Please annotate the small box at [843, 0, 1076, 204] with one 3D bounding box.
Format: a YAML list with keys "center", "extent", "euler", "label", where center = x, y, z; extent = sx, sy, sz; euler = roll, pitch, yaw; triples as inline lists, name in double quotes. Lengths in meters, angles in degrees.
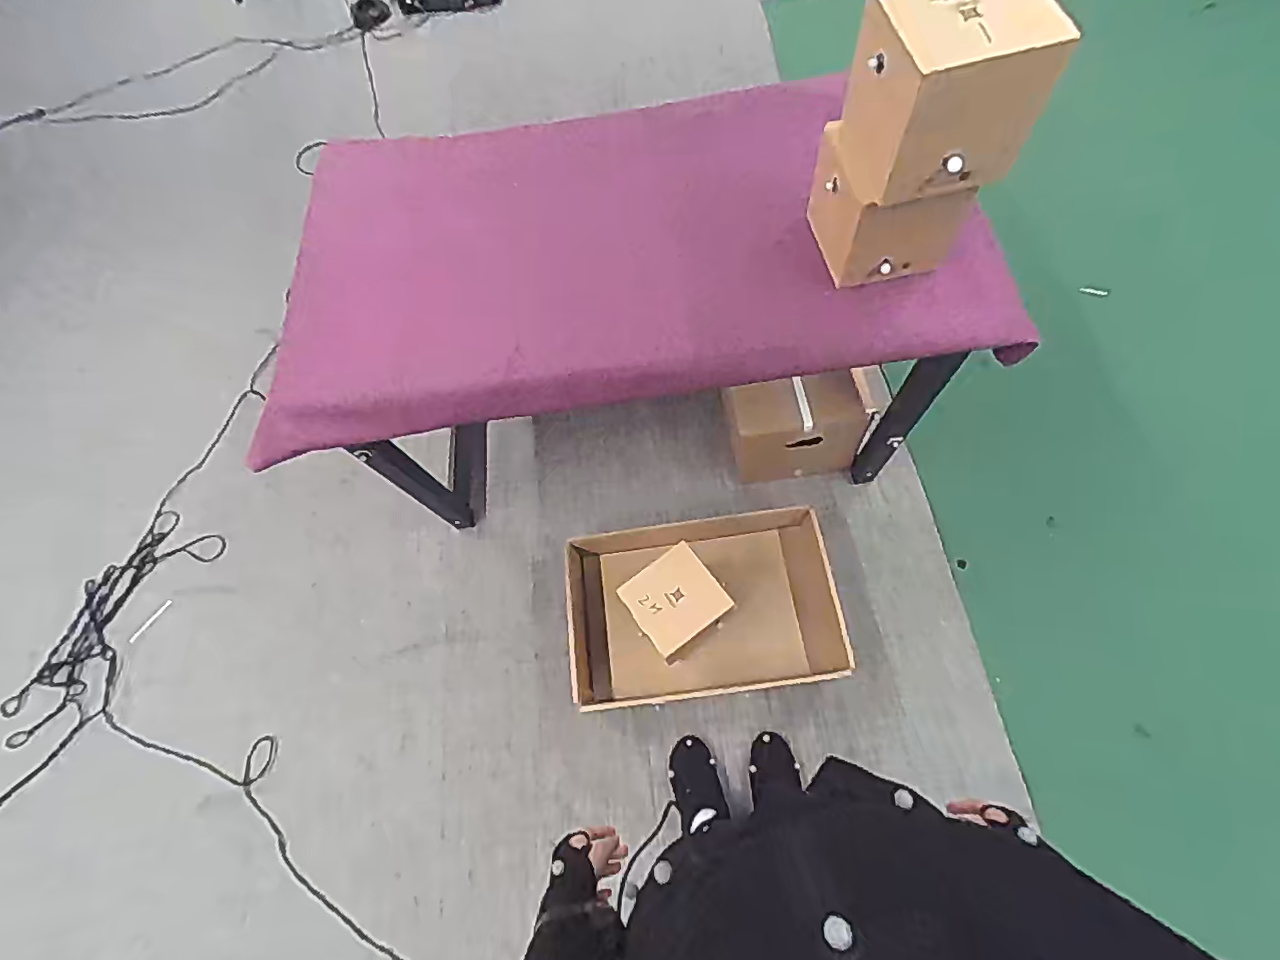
- center: [0.367, -0.481, 0.665]
  extent: [0.168, 0.176, 0.179]
  euler: [-11, 66, 4]
  label: "small box"

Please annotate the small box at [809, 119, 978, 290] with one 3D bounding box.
- center: [0.368, -0.424, 0.821]
  extent: [0.168, 0.176, 0.179]
  euler: [-11, 65, 4]
  label: "small box"

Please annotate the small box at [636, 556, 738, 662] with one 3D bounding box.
- center: [0.115, 0.313, 1.283]
  extent: [0.179, 0.176, 0.168]
  euler: [-37, 68, -8]
  label: "small box"
